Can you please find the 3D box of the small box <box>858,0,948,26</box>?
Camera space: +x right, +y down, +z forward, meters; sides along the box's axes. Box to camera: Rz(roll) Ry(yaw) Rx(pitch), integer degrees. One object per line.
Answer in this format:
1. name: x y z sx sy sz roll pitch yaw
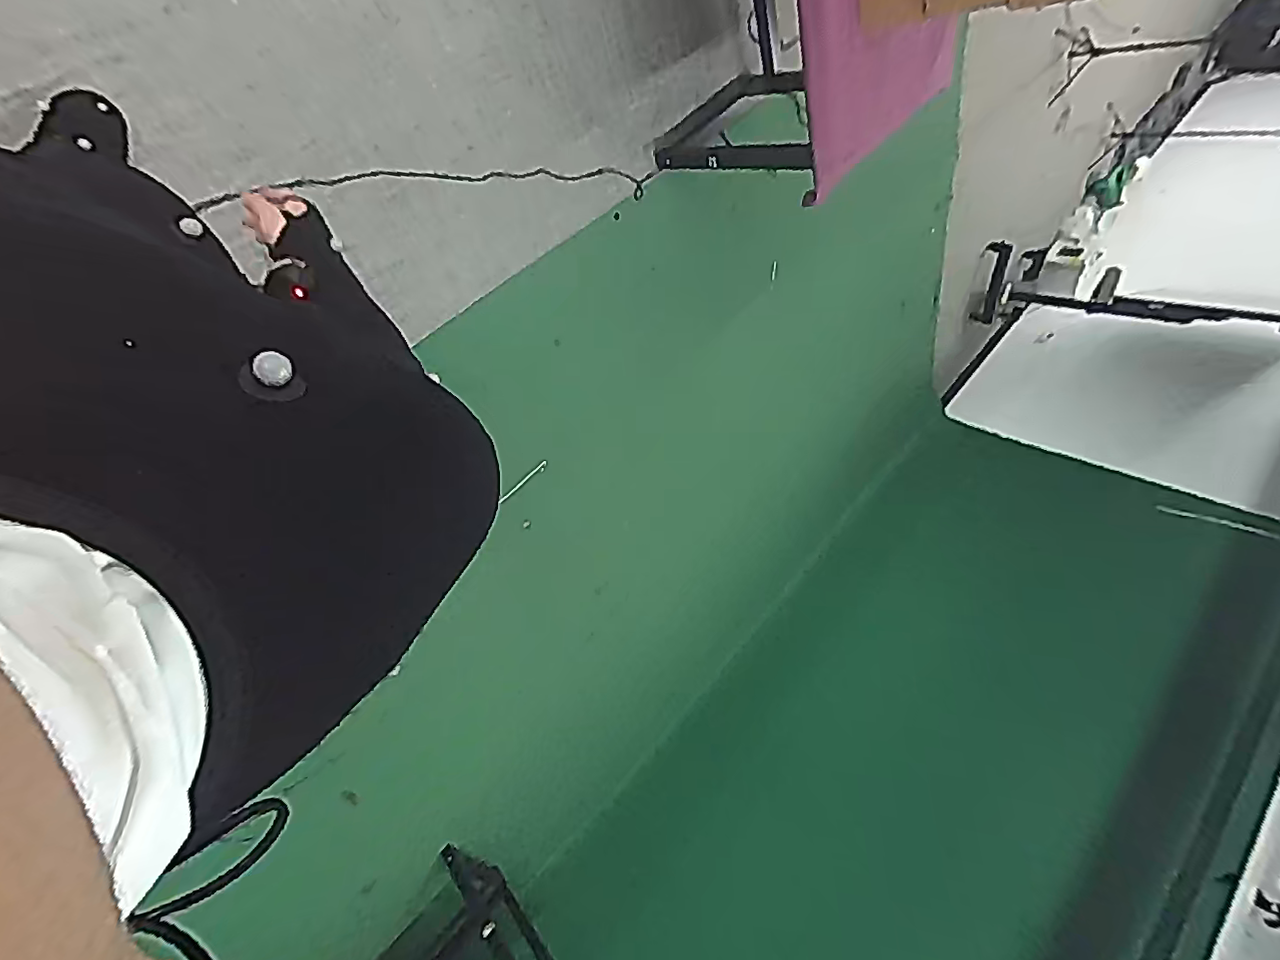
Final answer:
1. small box: 0.607 -1.164 1.212 0.168 0.176 0.179 -43 138 -19
